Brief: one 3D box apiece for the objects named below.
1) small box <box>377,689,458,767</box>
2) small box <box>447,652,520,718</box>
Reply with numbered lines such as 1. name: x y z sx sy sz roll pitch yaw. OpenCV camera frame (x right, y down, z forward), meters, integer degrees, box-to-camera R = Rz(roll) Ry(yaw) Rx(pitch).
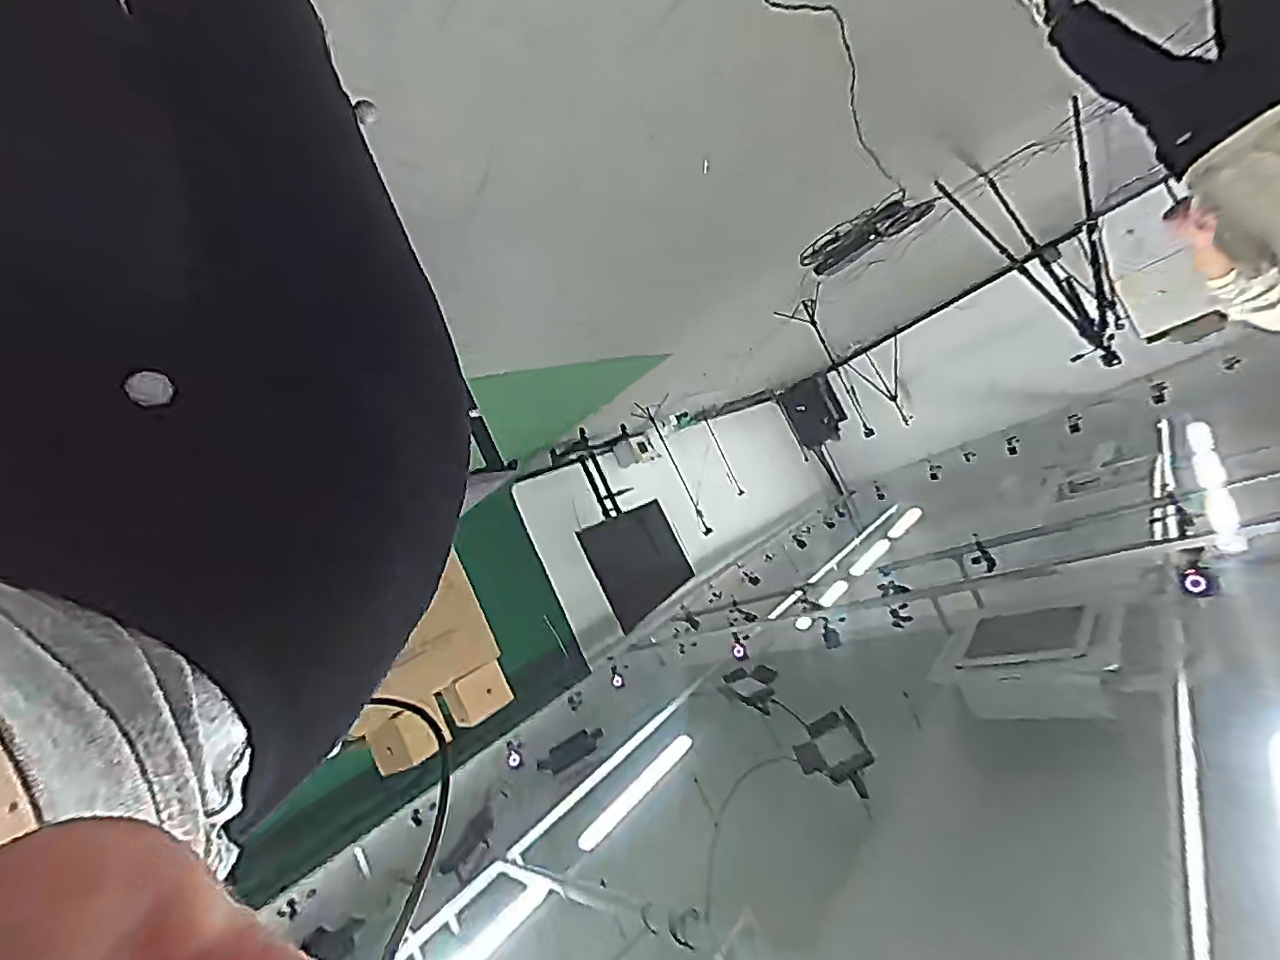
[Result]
1. small box: -0.763 0.836 1.840 0.179 0.176 0.168 -28 176 25
2. small box: -0.585 0.760 2.013 0.179 0.176 0.168 -26 176 -42
